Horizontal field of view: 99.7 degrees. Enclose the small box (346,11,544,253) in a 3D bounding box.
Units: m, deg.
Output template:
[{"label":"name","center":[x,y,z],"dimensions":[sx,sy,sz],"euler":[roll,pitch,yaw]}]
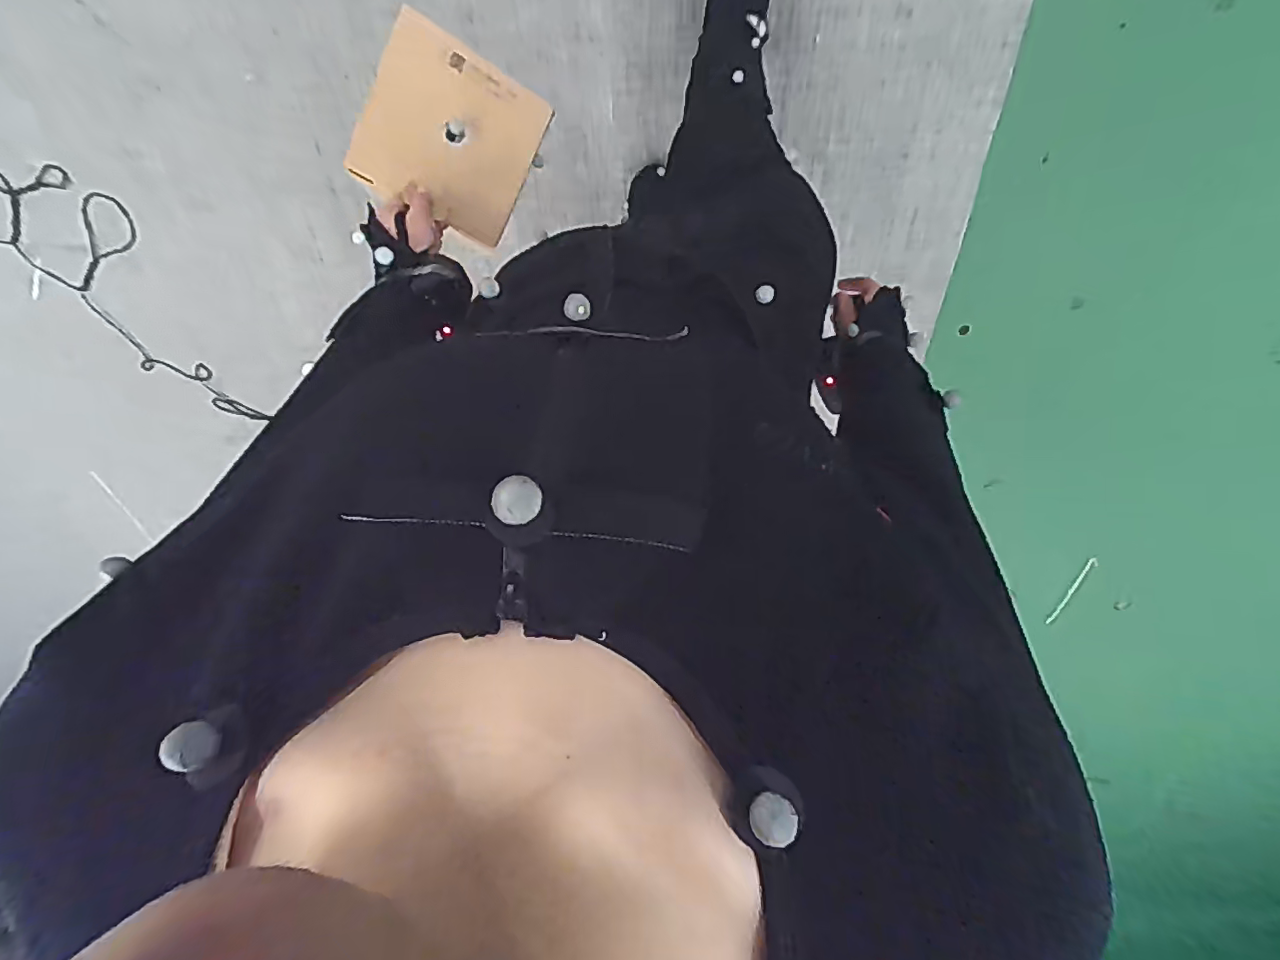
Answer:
[{"label":"small box","center":[-0.229,-0.398,0.649],"dimensions":[0.168,0.179,0.176],"euler":[21,100,-25]}]
